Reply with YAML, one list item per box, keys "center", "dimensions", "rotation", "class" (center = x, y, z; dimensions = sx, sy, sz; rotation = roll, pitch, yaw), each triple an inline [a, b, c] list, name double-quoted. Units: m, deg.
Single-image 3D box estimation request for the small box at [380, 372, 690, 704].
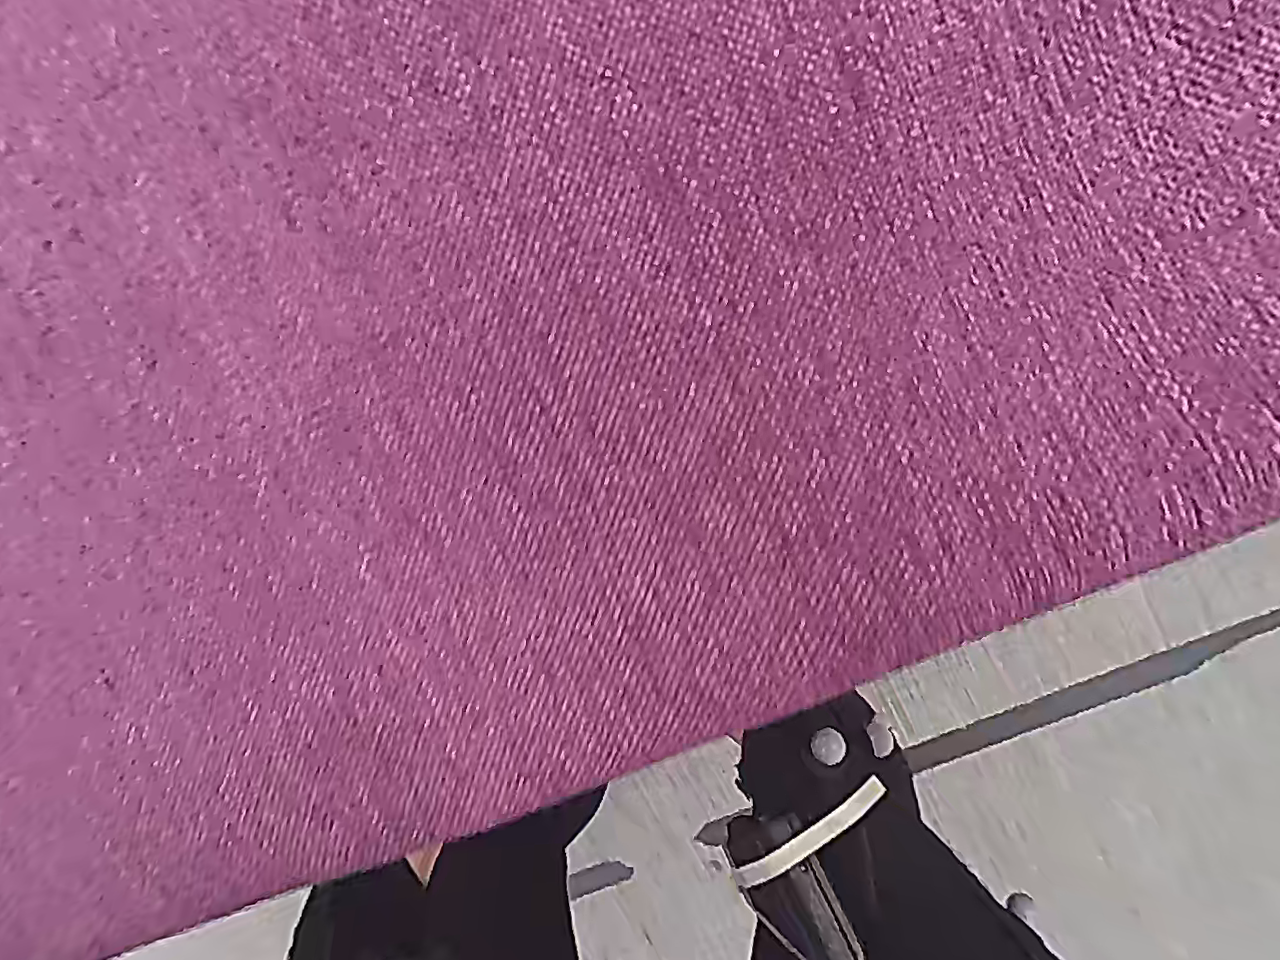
- center: [-0.067, 0.051, 0.422]
  dimensions: [0.168, 0.176, 0.179]
  rotation: [-20, 73, -3]
  class: "small box"
